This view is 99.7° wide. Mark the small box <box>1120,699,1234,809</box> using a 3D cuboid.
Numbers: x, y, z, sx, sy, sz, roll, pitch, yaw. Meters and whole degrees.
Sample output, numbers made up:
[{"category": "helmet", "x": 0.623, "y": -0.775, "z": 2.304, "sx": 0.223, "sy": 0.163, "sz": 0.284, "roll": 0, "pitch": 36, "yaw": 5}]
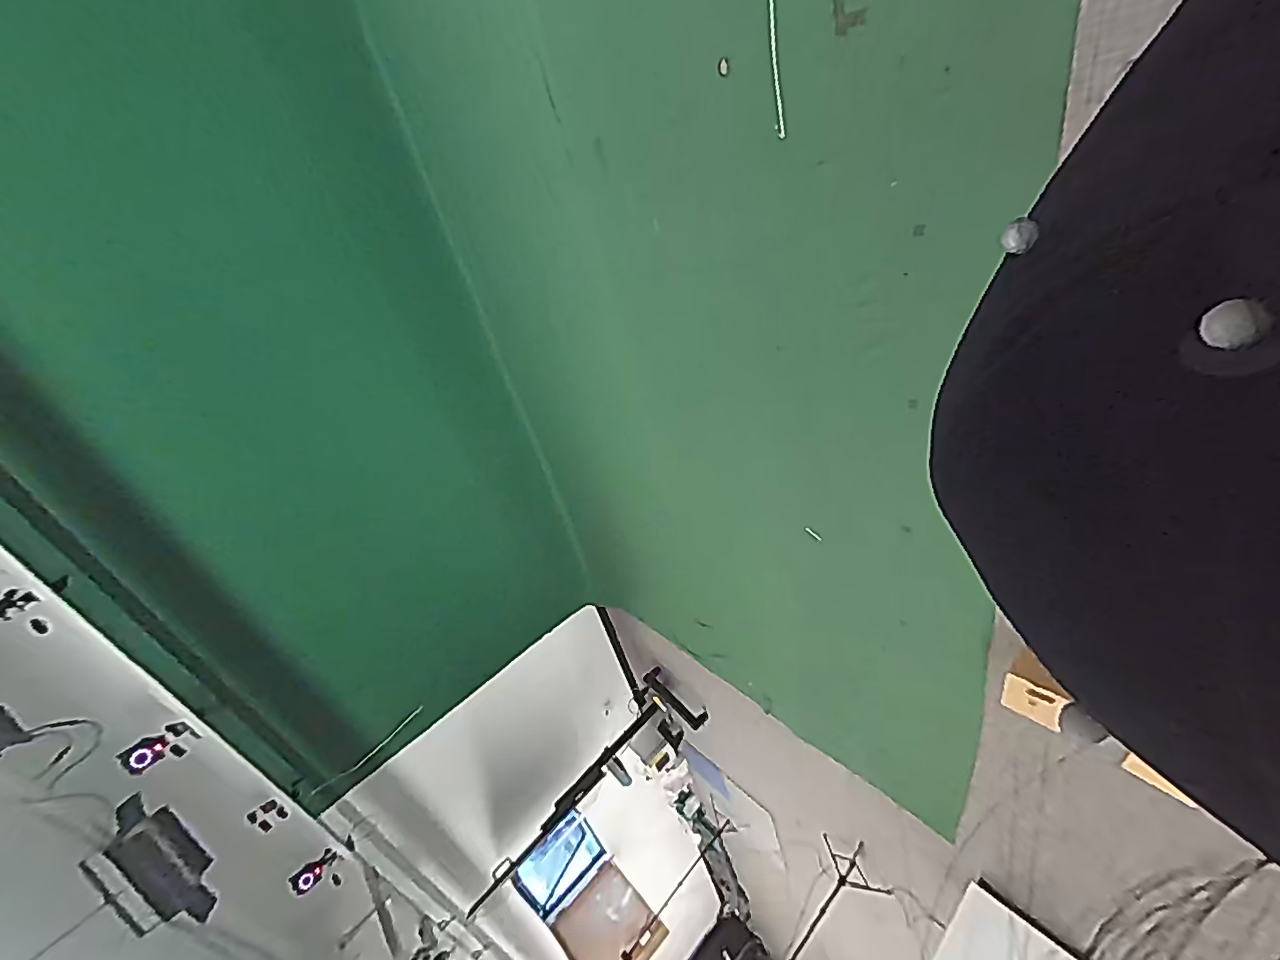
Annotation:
[{"category": "small box", "x": 1.490, "y": 0.756, "z": 1.501, "sx": 0.168, "sy": 0.176, "sz": 0.179, "roll": 28, "pitch": 141, "yaw": 41}]

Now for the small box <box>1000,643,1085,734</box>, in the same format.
[{"category": "small box", "x": 1.280, "y": 0.655, "z": 1.719, "sx": 0.168, "sy": 0.176, "sz": 0.179, "roll": 24, "pitch": 140, "yaw": 45}]
